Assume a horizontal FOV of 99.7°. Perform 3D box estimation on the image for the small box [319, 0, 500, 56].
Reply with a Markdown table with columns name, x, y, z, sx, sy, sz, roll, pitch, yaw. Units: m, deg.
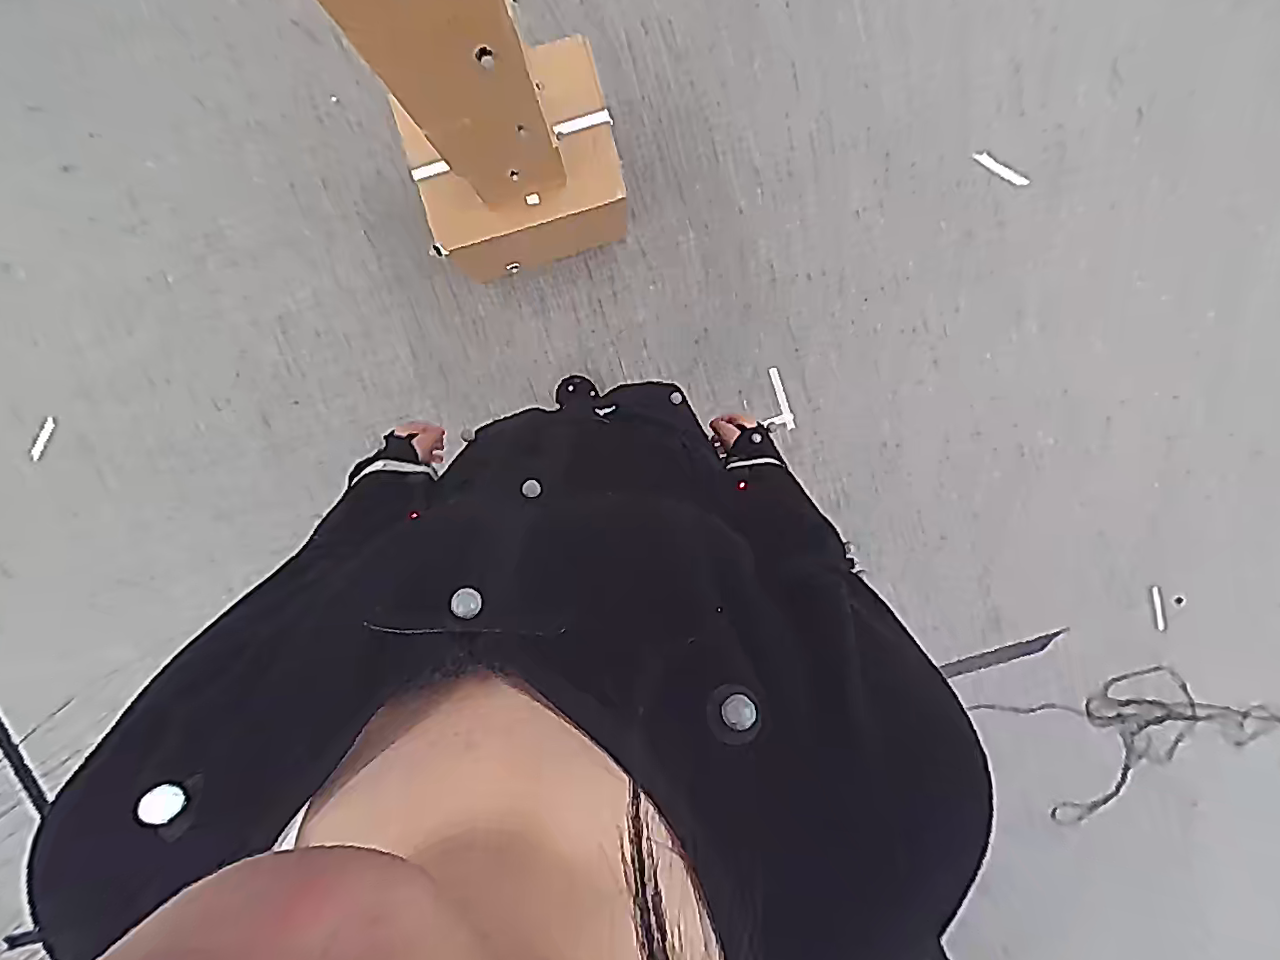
| name | x | y | z | sx | sy | sz | roll | pitch | yaw |
| --- | --- | --- | --- | --- | --- | --- | --- | --- | --- |
| small box | -0.242 | -0.554 | 0.512 | 0.179 | 0.176 | 0.168 | -14 | 100 | 1 |

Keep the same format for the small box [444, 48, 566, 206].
| name | x | y | z | sx | sy | sz | roll | pitch | yaw |
| --- | --- | --- | --- | --- | --- | --- | --- | --- | --- |
| small box | -0.249 | -0.634 | 0.995 | 0.179 | 0.176 | 0.168 | -19 | 100 | 1 |

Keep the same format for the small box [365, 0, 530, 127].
| name | x | y | z | sx | sy | sz | roll | pitch | yaw |
| --- | --- | --- | --- | --- | --- | --- | --- | --- | --- |
| small box | -0.245 | -0.580 | 0.671 | 0.179 | 0.176 | 0.168 | -15 | 99 | 1 |
